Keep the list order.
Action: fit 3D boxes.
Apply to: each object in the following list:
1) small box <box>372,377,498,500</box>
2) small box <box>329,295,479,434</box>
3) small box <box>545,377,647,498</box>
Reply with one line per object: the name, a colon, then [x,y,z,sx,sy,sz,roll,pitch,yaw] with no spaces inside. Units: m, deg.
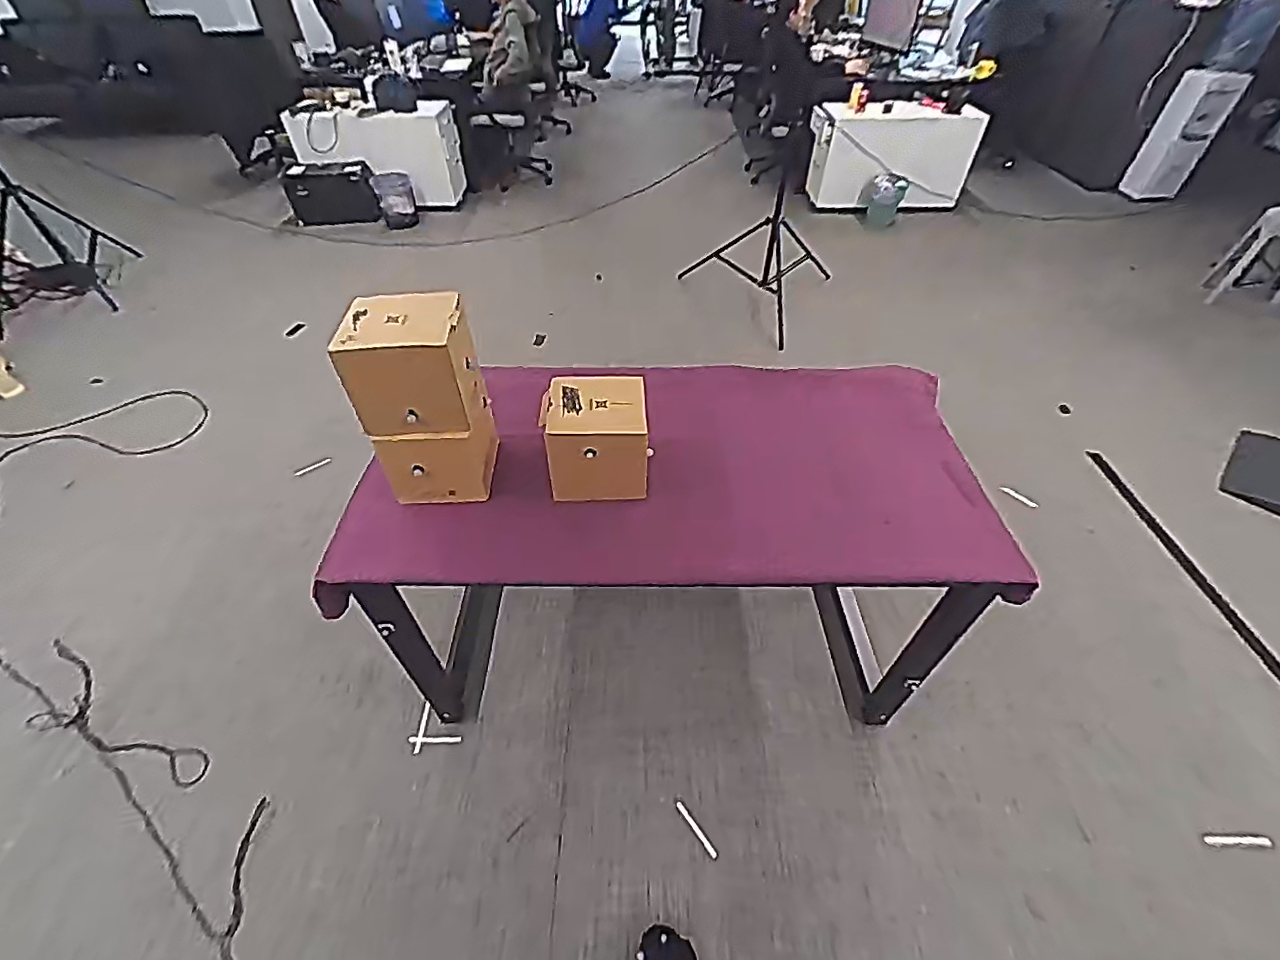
small box: [-0.372,-0.074,1.021,0.168,0.176,0.179,-3,46,-2]
small box: [-0.377,-0.193,0.908,0.179,0.176,0.168,-3,46,-4]
small box: [-0.077,-0.078,1.025,0.179,0.176,0.168,-1,46,-2]
